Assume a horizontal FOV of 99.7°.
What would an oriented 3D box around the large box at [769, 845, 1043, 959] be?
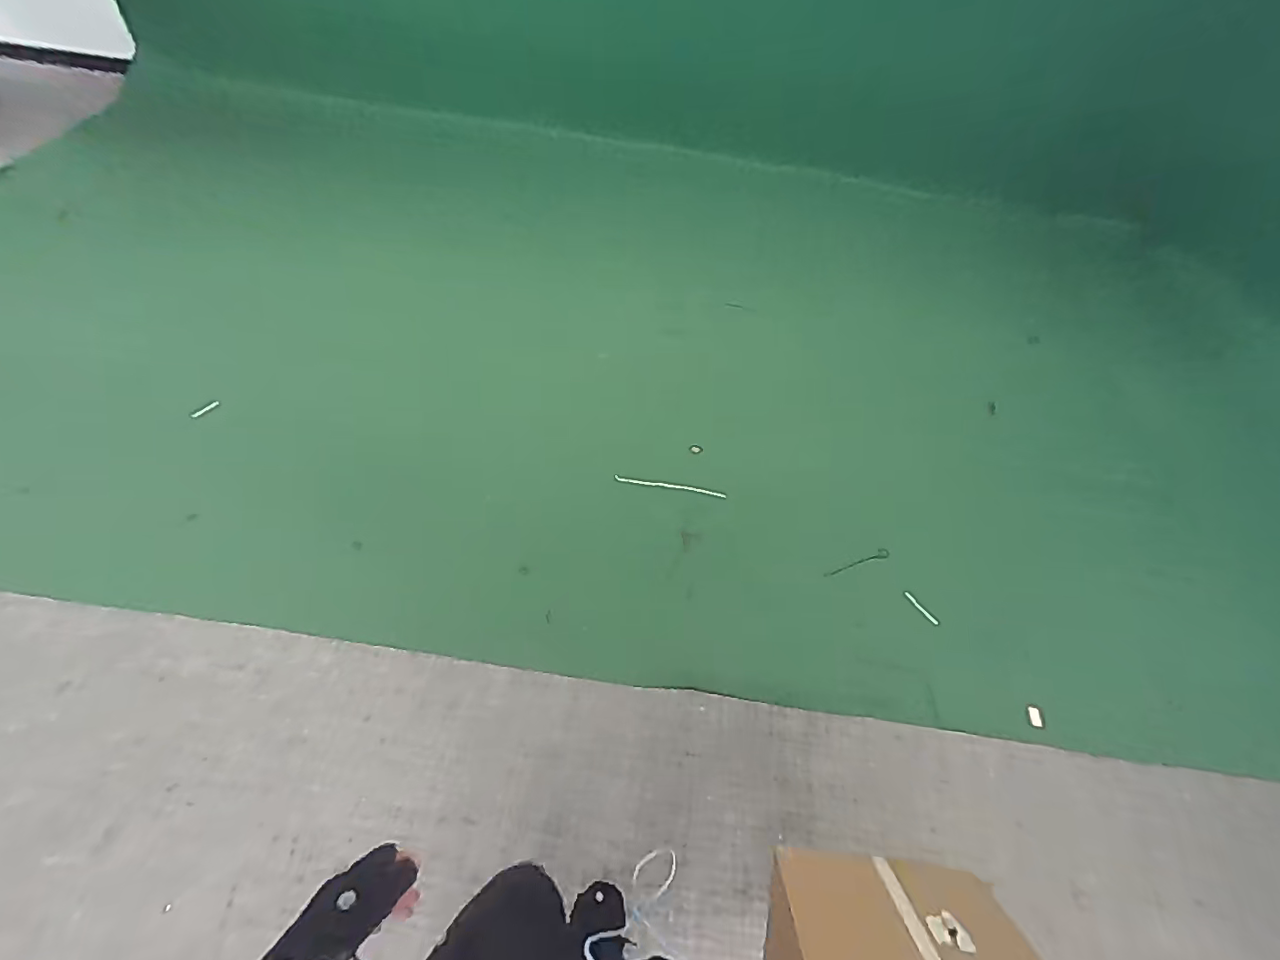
[{"bbox_3d":[0.343,0.743,0.651,0.320,0.408,0.320,6,91,4],"label":"large box"}]
